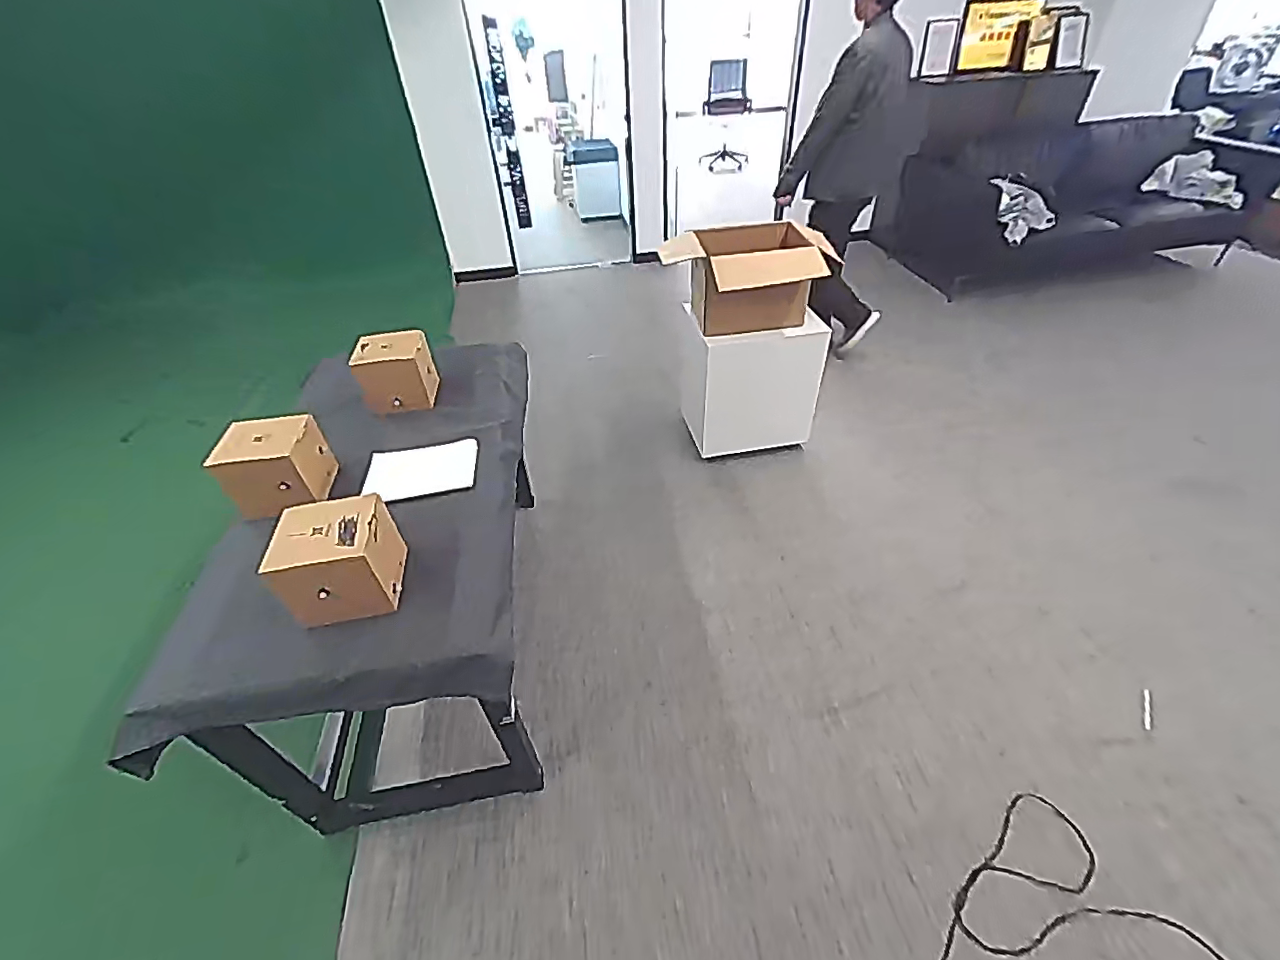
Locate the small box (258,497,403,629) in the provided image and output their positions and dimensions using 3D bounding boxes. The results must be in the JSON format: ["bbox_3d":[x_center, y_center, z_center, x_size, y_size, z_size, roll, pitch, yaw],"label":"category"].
[{"bbox_3d":[-0.571,0.159,1.029,0.179,0.176,0.168,-9,41,-7],"label":"small box"}]

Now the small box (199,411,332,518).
[{"bbox_3d":[-0.840,-0.035,1.239,0.179,0.176,0.168,-9,41,-6],"label":"small box"}]

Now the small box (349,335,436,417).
[{"bbox_3d":[-0.700,-0.299,1.553,0.179,0.176,0.168,-7,41,-7],"label":"small box"}]
